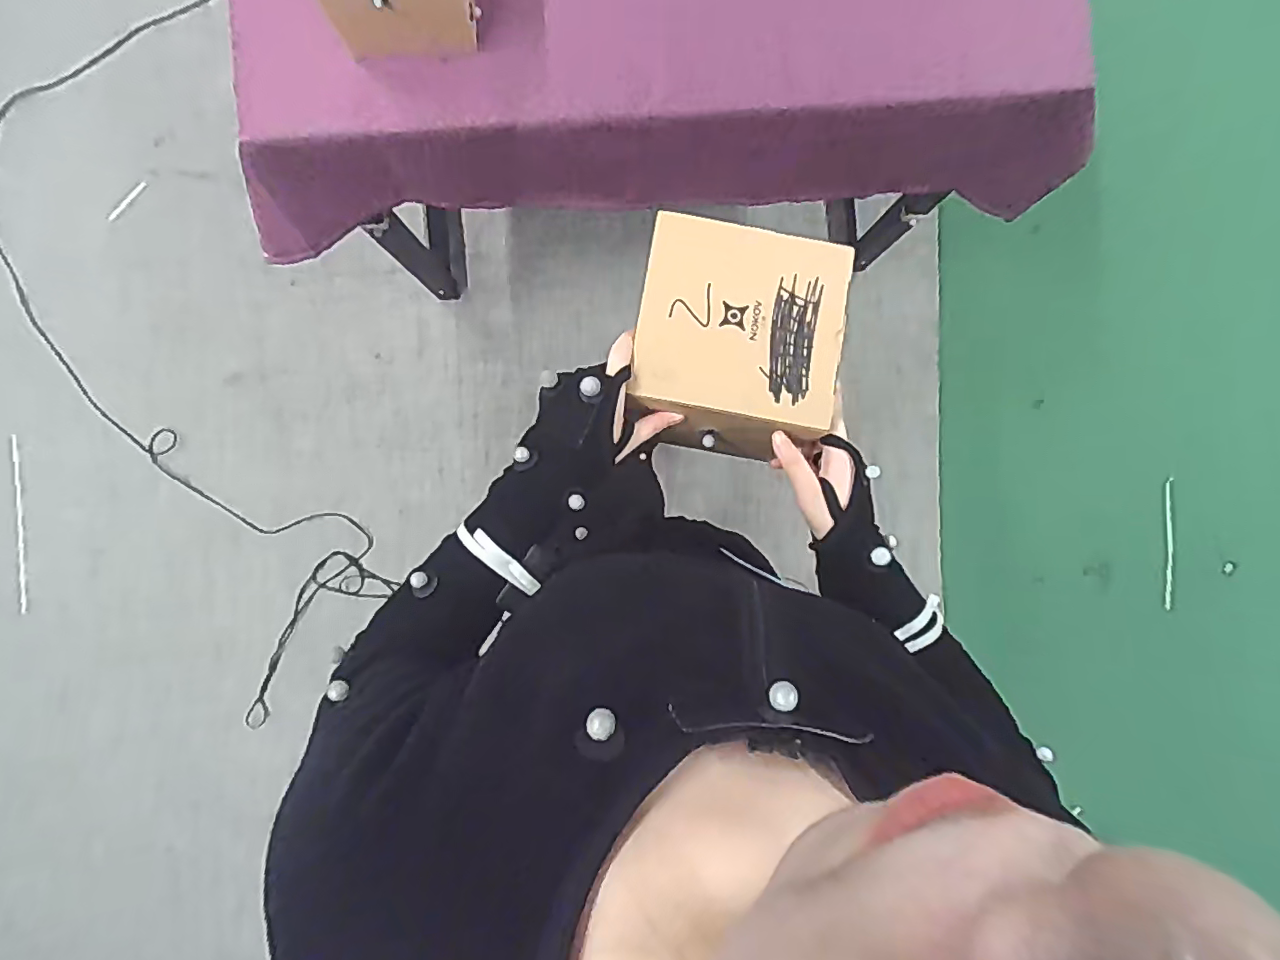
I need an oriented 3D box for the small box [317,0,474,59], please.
[{"bbox_3d":[-0.312,-0.666,0.671,0.179,0.176,0.168,-3,90,-1],"label":"small box"}]
